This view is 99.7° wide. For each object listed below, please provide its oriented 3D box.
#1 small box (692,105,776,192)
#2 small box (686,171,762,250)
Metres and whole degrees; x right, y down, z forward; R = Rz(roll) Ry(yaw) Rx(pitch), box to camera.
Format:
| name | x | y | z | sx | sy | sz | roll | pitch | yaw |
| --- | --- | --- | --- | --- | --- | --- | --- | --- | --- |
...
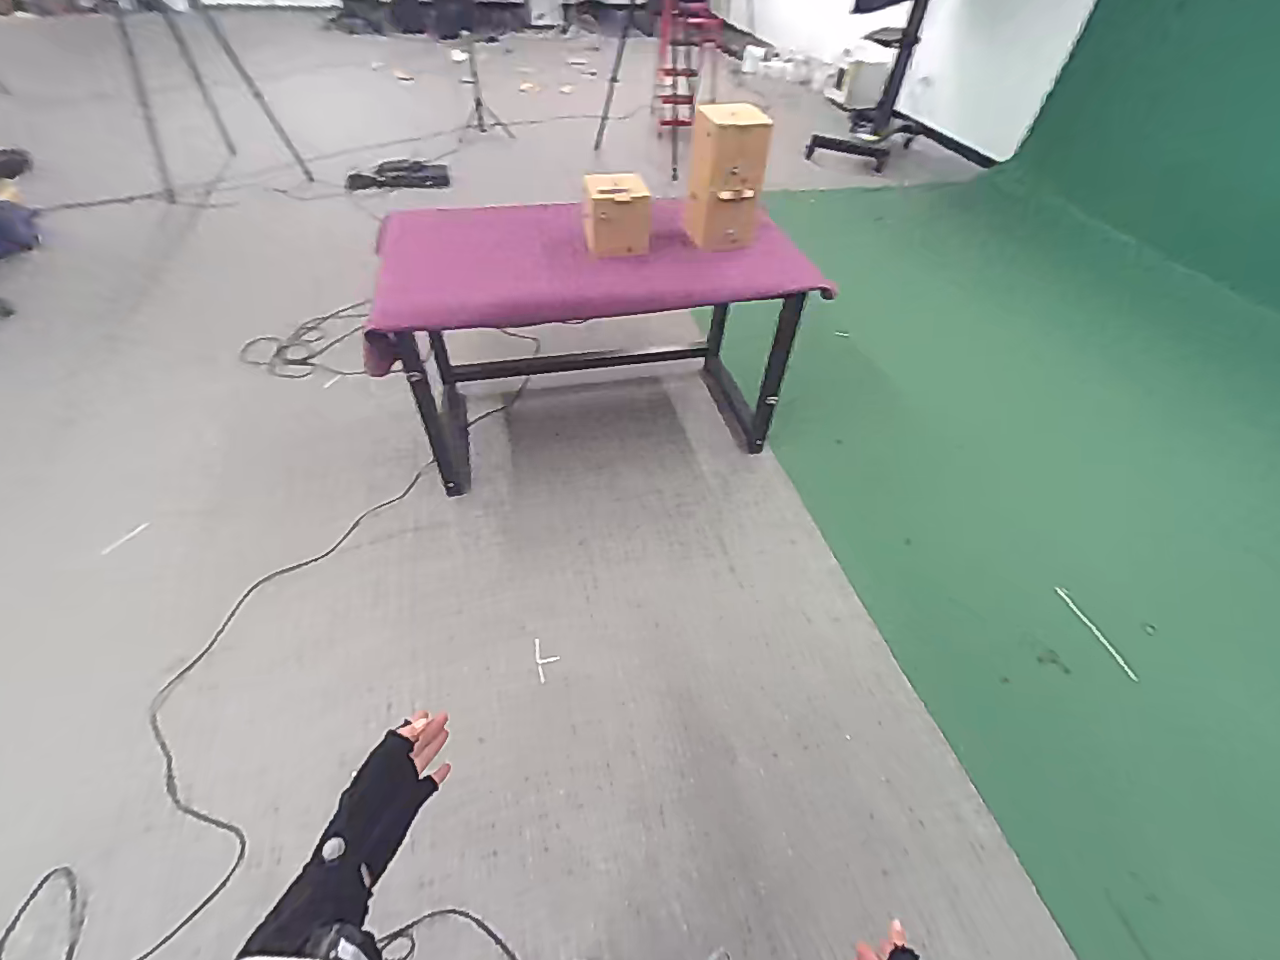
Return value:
| name | x | y | z | sx | sy | sz | roll | pitch | yaw |
| --- | --- | --- | --- | --- | --- | --- | --- | --- | --- |
| small box | 0.255 | -0.932 | 1.519 | 0.168 | 0.176 | 0.179 | -10 | 51 | -13 |
| small box | 0.245 | -0.819 | 1.637 | 0.168 | 0.176 | 0.179 | -11 | 50 | -12 |
